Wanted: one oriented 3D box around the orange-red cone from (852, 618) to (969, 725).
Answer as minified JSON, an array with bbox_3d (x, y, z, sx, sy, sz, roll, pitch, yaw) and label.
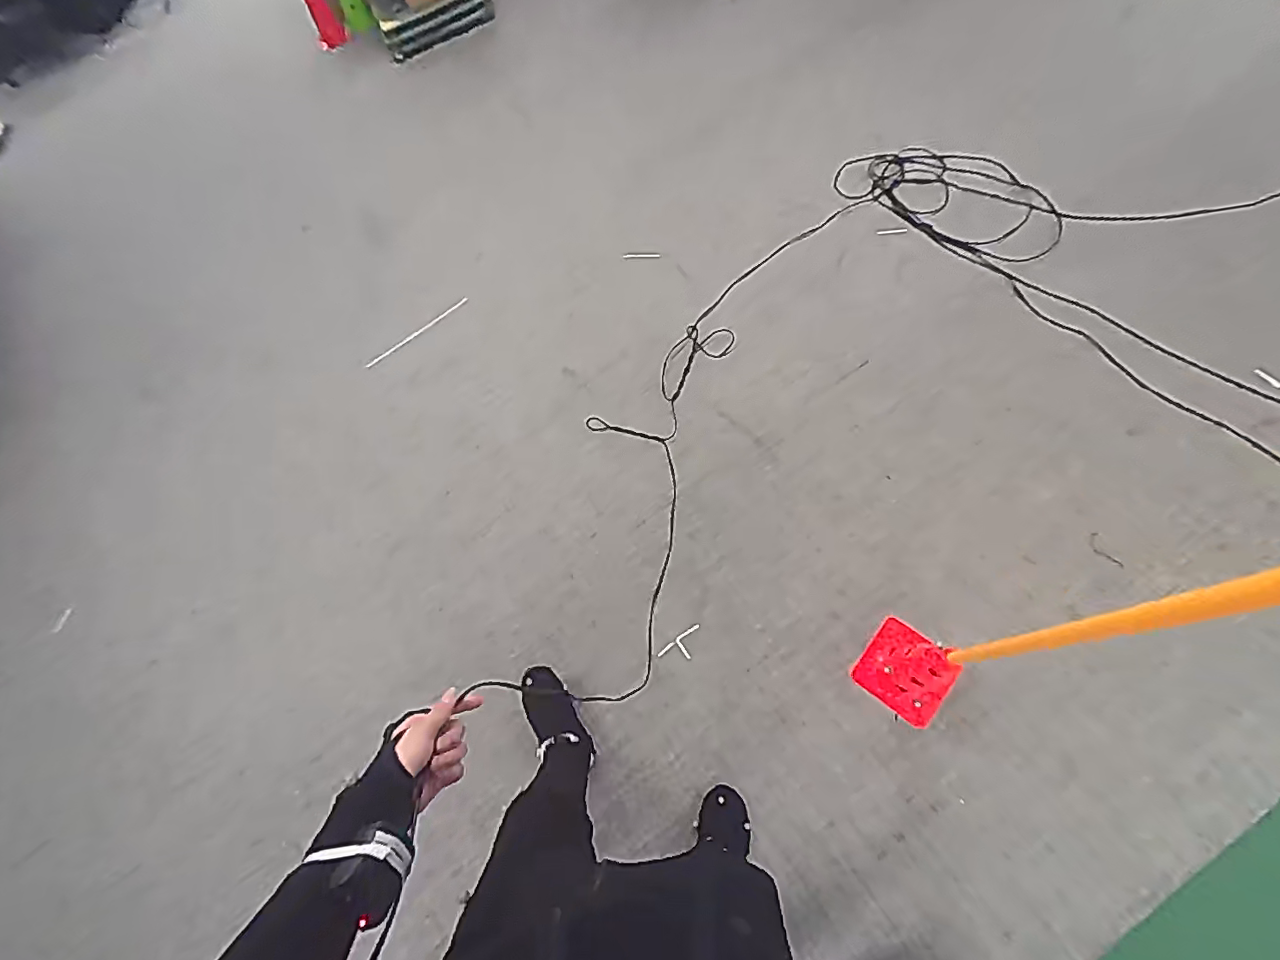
[{"bbox_3d":[0.627,0.398,1.176,0.198,0.360,0.199,37,77,22],"label":"orange-red cone"}]
